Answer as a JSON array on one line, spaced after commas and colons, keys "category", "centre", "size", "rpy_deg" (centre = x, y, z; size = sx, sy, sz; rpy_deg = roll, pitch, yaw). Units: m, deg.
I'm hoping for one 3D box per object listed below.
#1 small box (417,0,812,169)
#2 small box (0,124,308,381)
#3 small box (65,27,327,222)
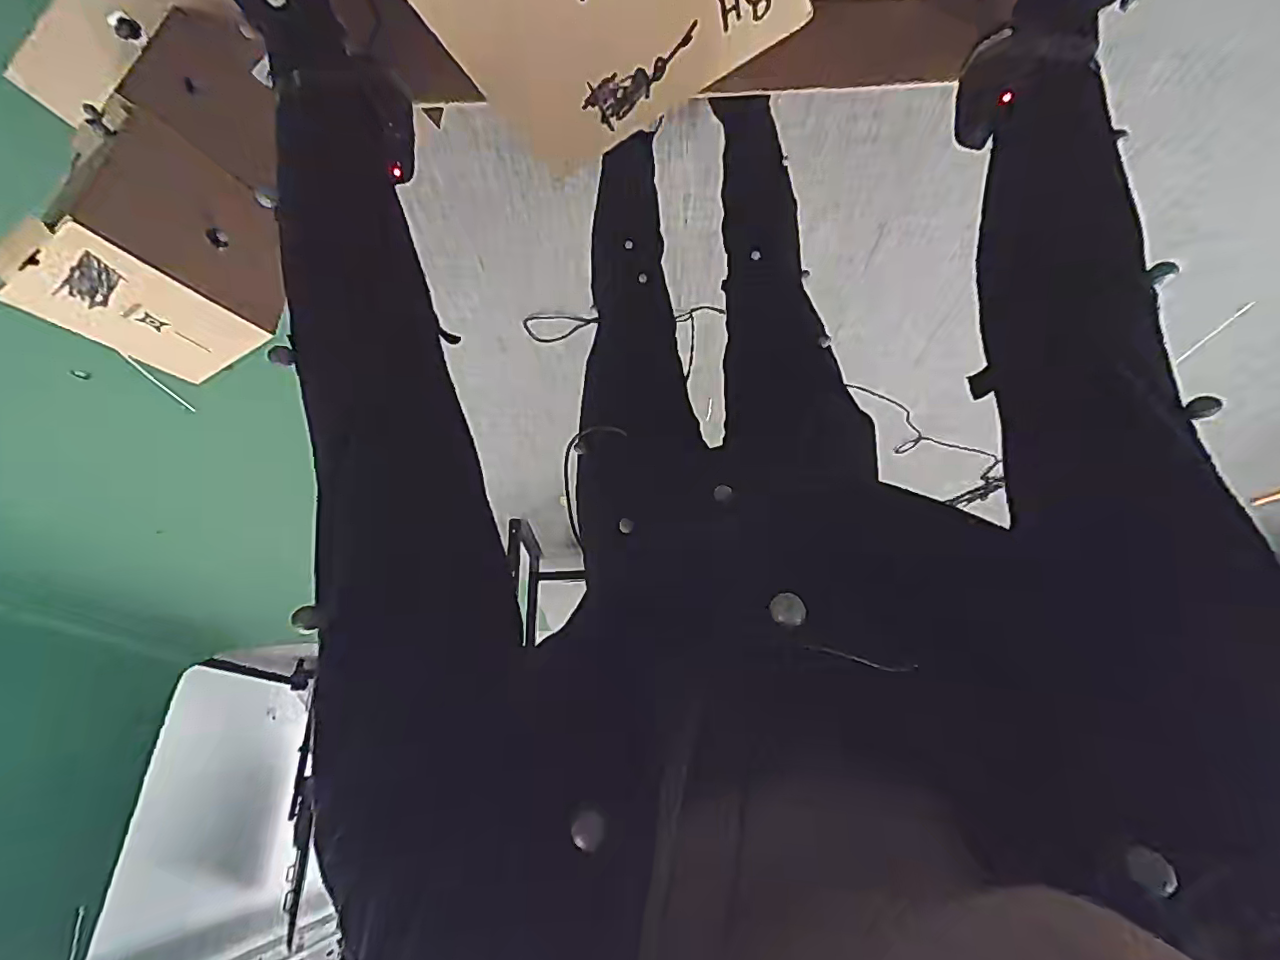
[{"category": "small box", "centre": [-0.030, -0.314, 0.268], "size": [0.168, 0.176, 0.179], "rpy_deg": [-16, 148, 27]}, {"category": "small box", "centre": [-0.509, -0.244, 0.591], "size": [0.168, 0.176, 0.179], "rpy_deg": [-16, 151, 25]}, {"category": "small box", "centre": [-0.522, -0.395, 0.657], "size": [0.168, 0.176, 0.179], "rpy_deg": [-19, 149, 29]}]
